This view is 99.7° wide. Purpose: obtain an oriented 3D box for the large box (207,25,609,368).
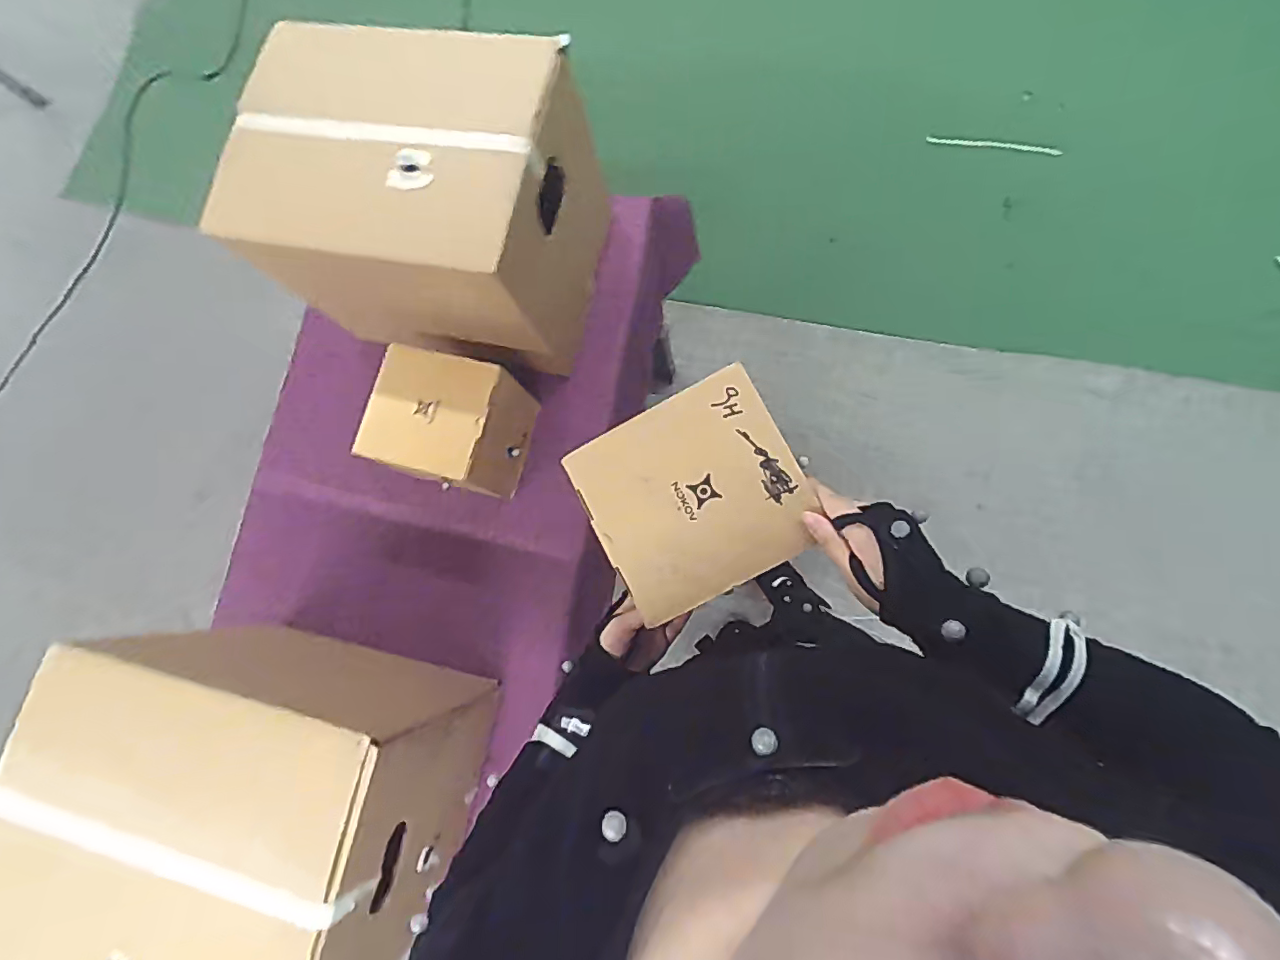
[{"bbox_3d":[-0.294,-0.392,0.804,0.408,0.320,0.320,12,81,9],"label":"large box"}]
